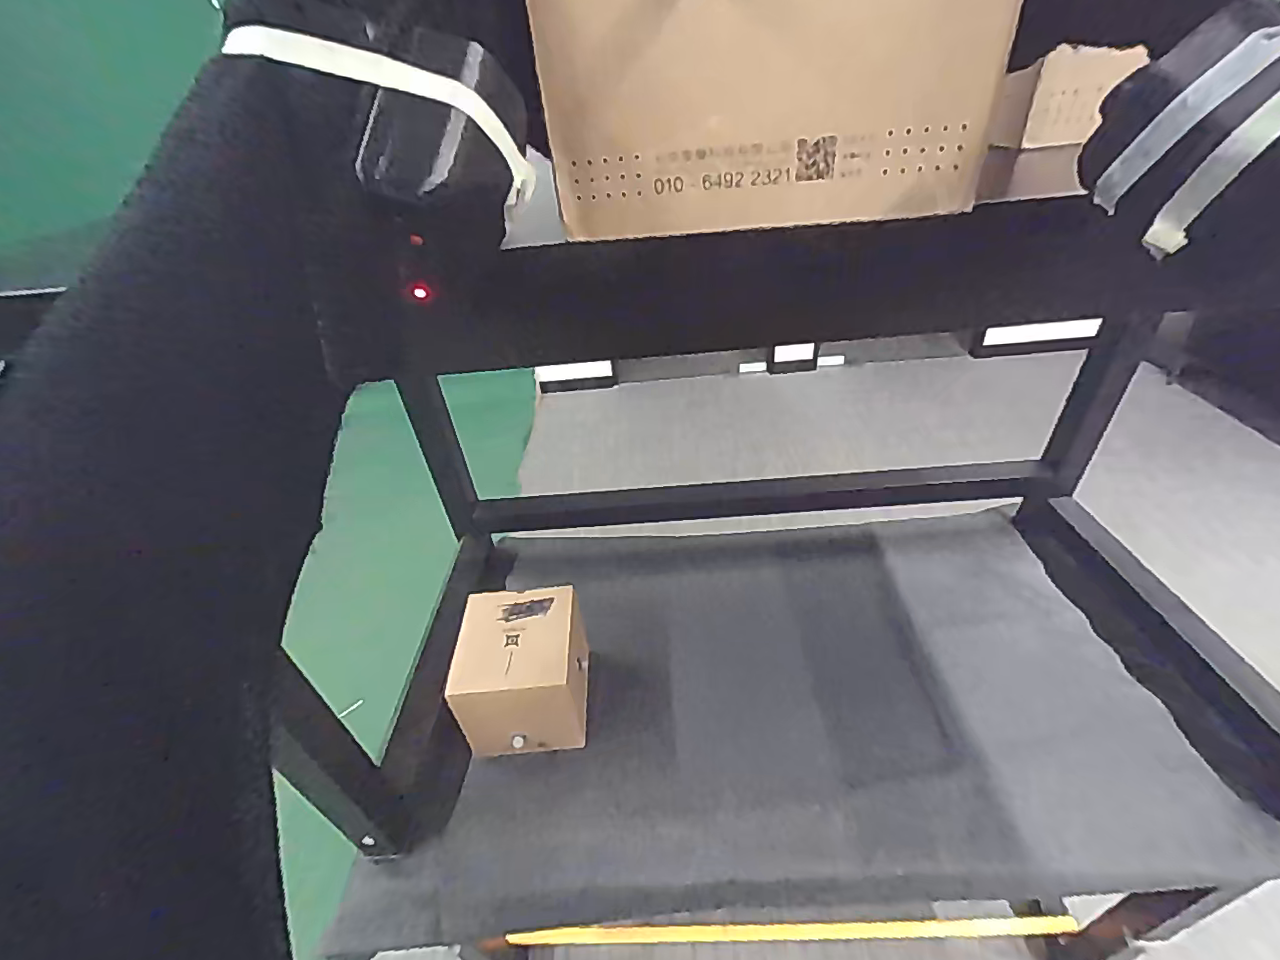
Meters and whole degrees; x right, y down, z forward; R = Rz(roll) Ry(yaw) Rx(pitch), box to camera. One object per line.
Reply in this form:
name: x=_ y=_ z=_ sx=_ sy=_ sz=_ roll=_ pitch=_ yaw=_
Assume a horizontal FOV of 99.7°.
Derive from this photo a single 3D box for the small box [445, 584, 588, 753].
small box: x=-0.173 y=0.285 z=0.825 sx=0.168 sy=0.176 sz=0.179 roll=-6 pitch=37 yaw=1
